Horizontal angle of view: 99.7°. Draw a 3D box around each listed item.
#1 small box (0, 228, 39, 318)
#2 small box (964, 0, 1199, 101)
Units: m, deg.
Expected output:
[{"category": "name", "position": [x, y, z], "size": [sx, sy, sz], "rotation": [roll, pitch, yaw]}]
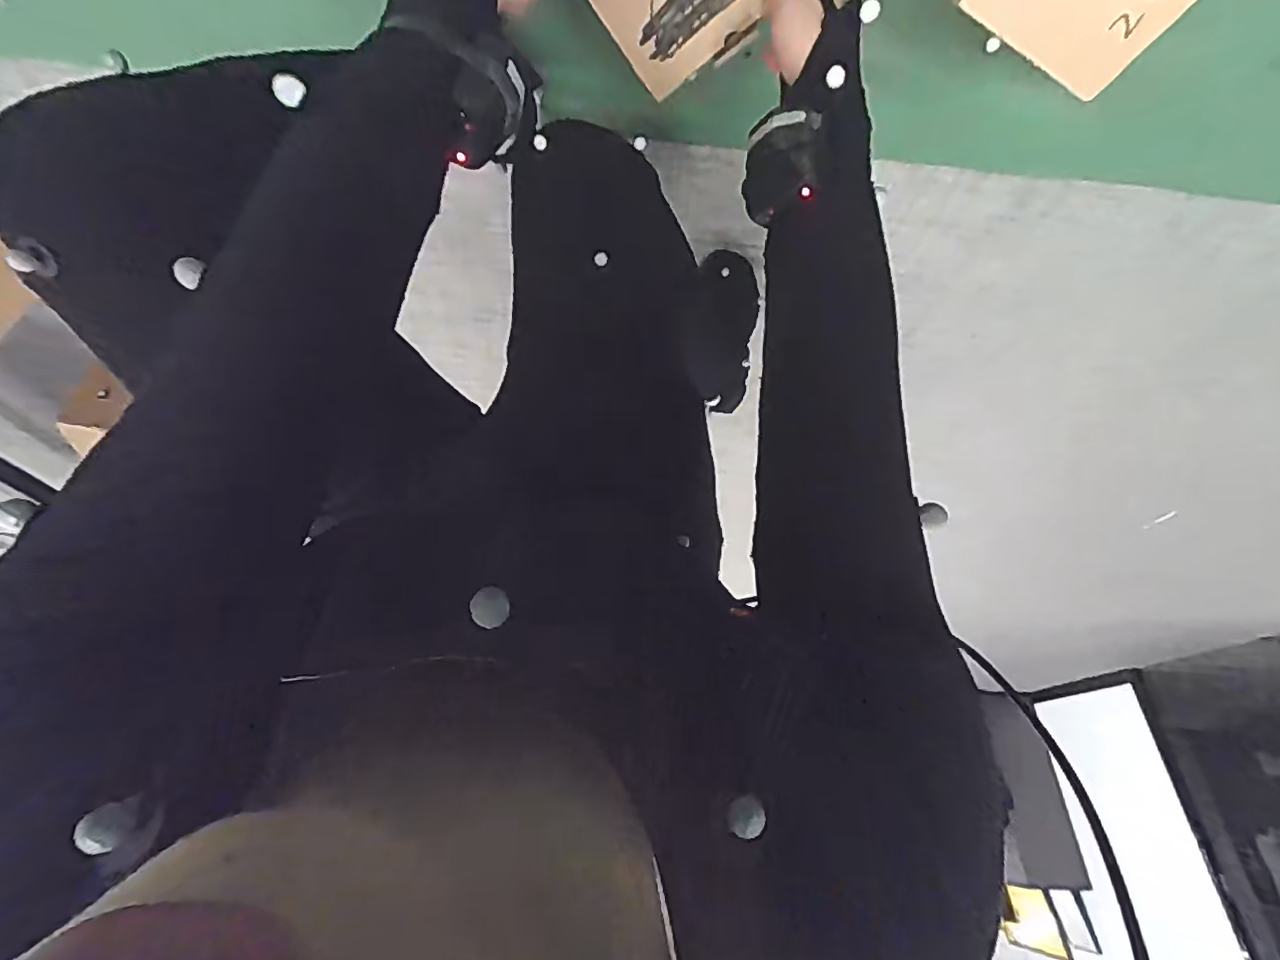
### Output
[{"category": "small box", "position": [-1.061, -0.324, 0.783], "size": [0.168, 0.176, 0.179], "rotation": [6, 148, -9]}, {"category": "small box", "position": [0.377, -0.478, 0.453], "size": [0.179, 0.176, 0.168], "rotation": [14, 148, -21]}]
